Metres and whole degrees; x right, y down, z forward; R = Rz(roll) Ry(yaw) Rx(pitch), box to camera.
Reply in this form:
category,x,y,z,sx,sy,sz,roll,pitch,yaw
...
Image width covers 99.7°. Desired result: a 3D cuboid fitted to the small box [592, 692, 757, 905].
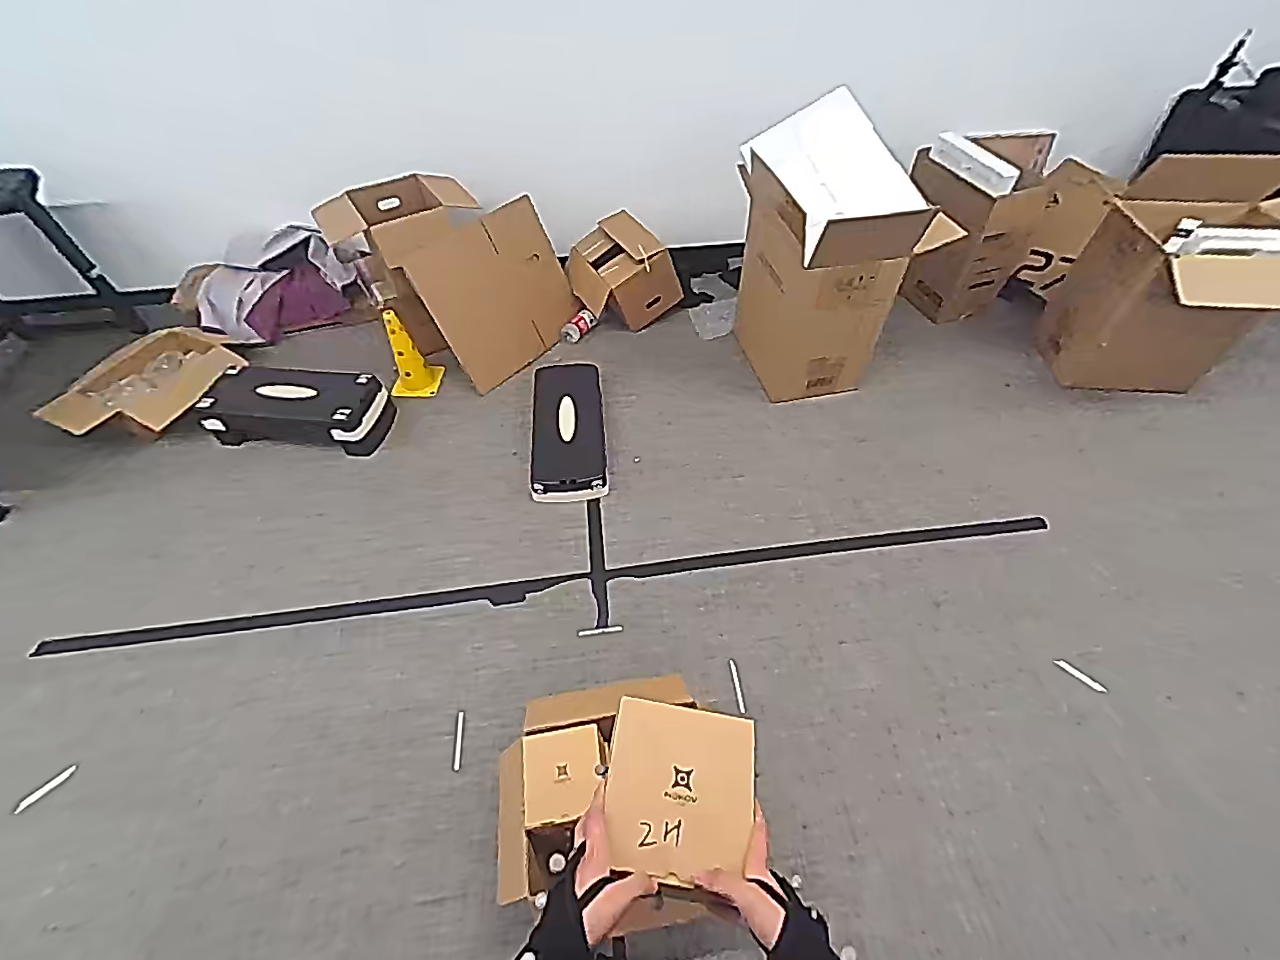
category,x,y,z,sx,sy,sz,roll,pitch,yaw
small box,0.038,0.385,0.651,0.168,0.176,0.179,10,50,2
